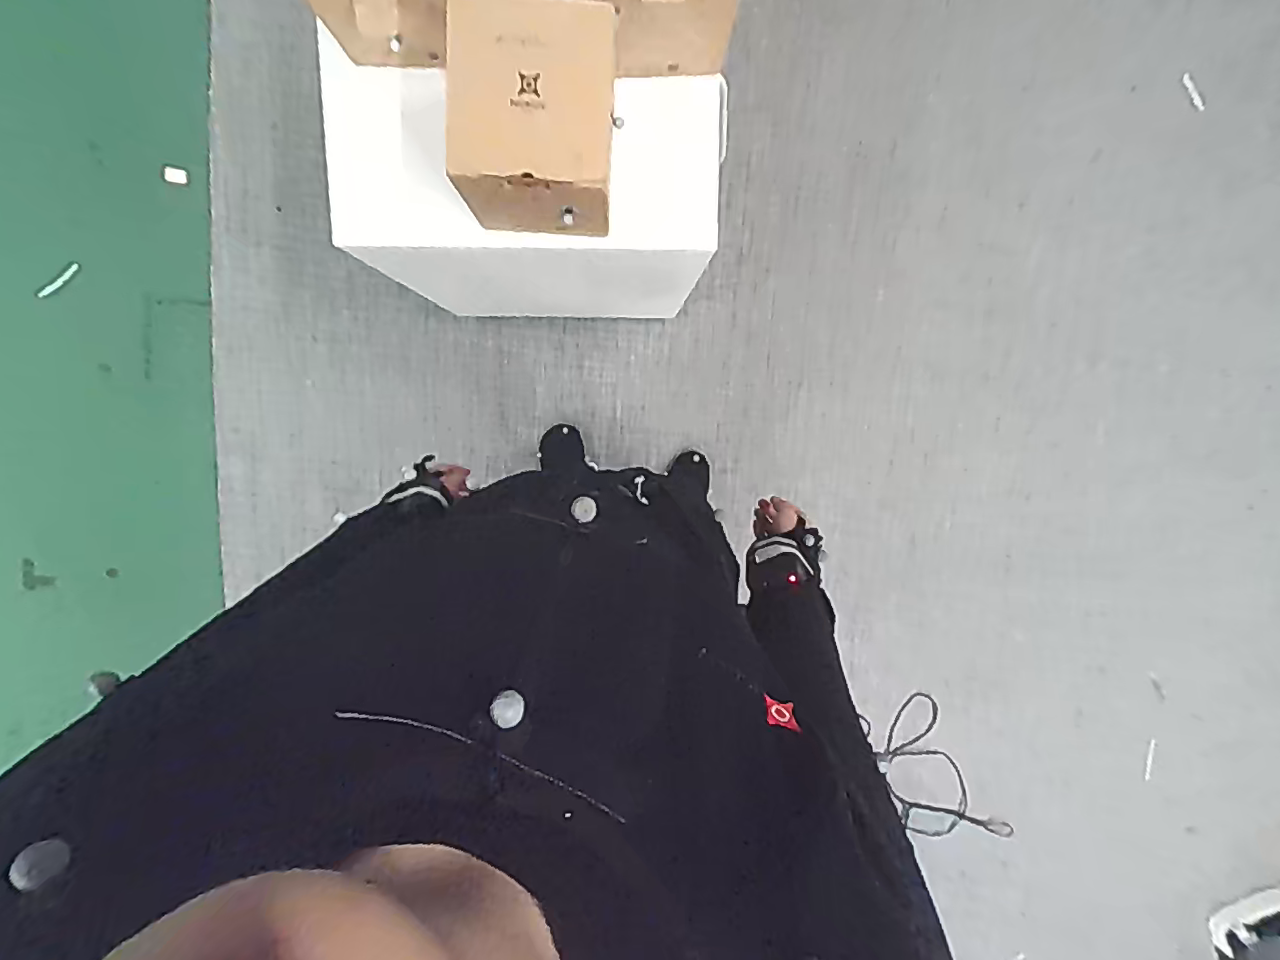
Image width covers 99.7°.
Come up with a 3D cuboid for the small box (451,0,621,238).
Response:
[{"bbox_3d":[-0.109,-0.397,0.623,0.168,0.176,0.179,3,96,-3],"label":"small box"}]

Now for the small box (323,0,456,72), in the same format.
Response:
[{"bbox_3d":[-0.266,-0.593,0.592,0.168,0.176,0.179,-1,99,-3],"label":"small box"}]
